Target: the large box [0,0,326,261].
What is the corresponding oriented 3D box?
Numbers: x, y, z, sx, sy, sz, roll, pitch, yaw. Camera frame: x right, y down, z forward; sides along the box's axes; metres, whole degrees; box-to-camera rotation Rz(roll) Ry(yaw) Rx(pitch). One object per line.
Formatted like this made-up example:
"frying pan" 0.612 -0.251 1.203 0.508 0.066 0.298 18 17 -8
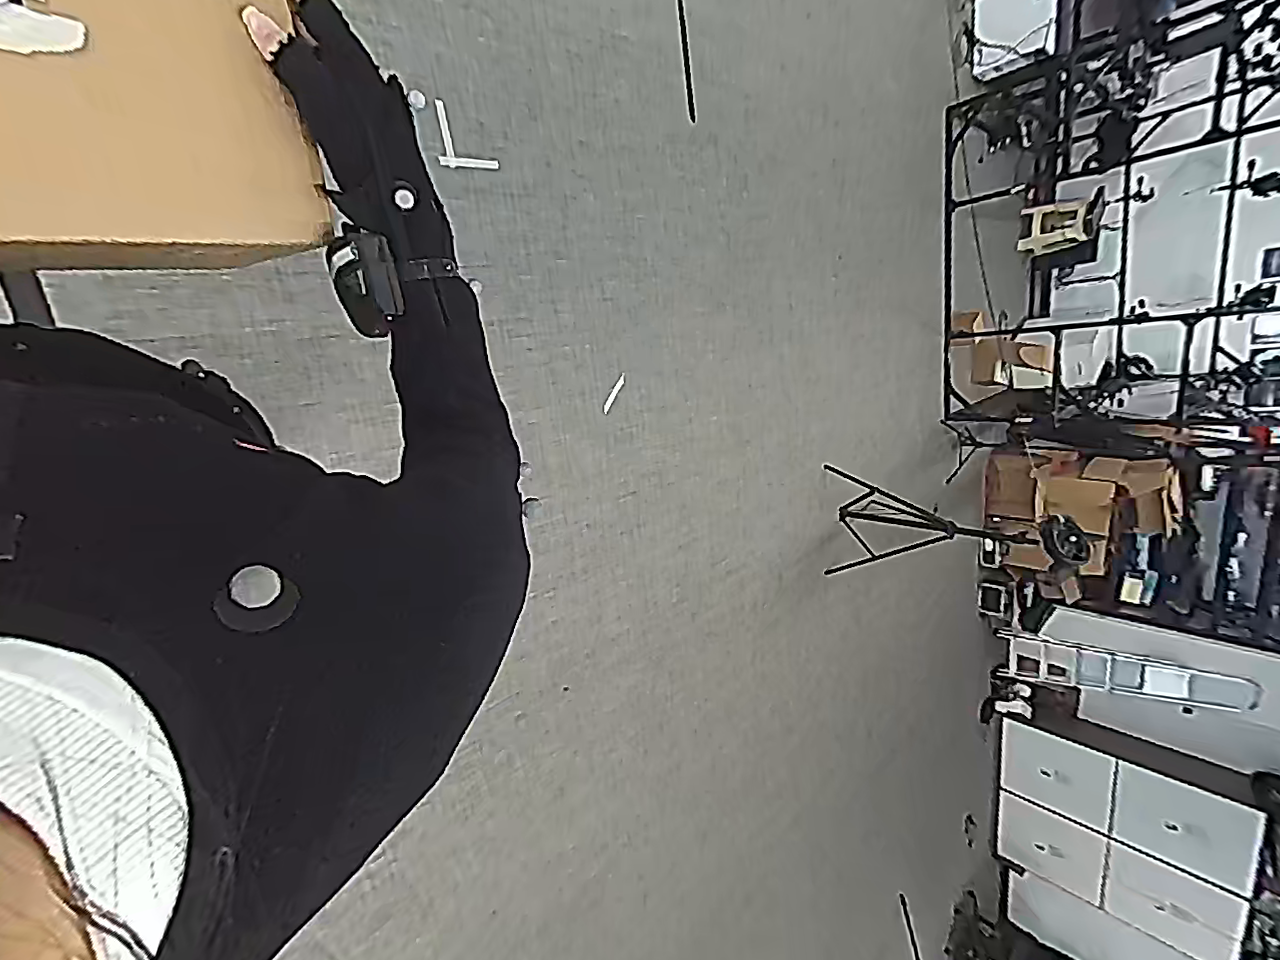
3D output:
"large box" -0.487 -0.303 0.321 0.408 0.320 0.320 -22 119 -42
